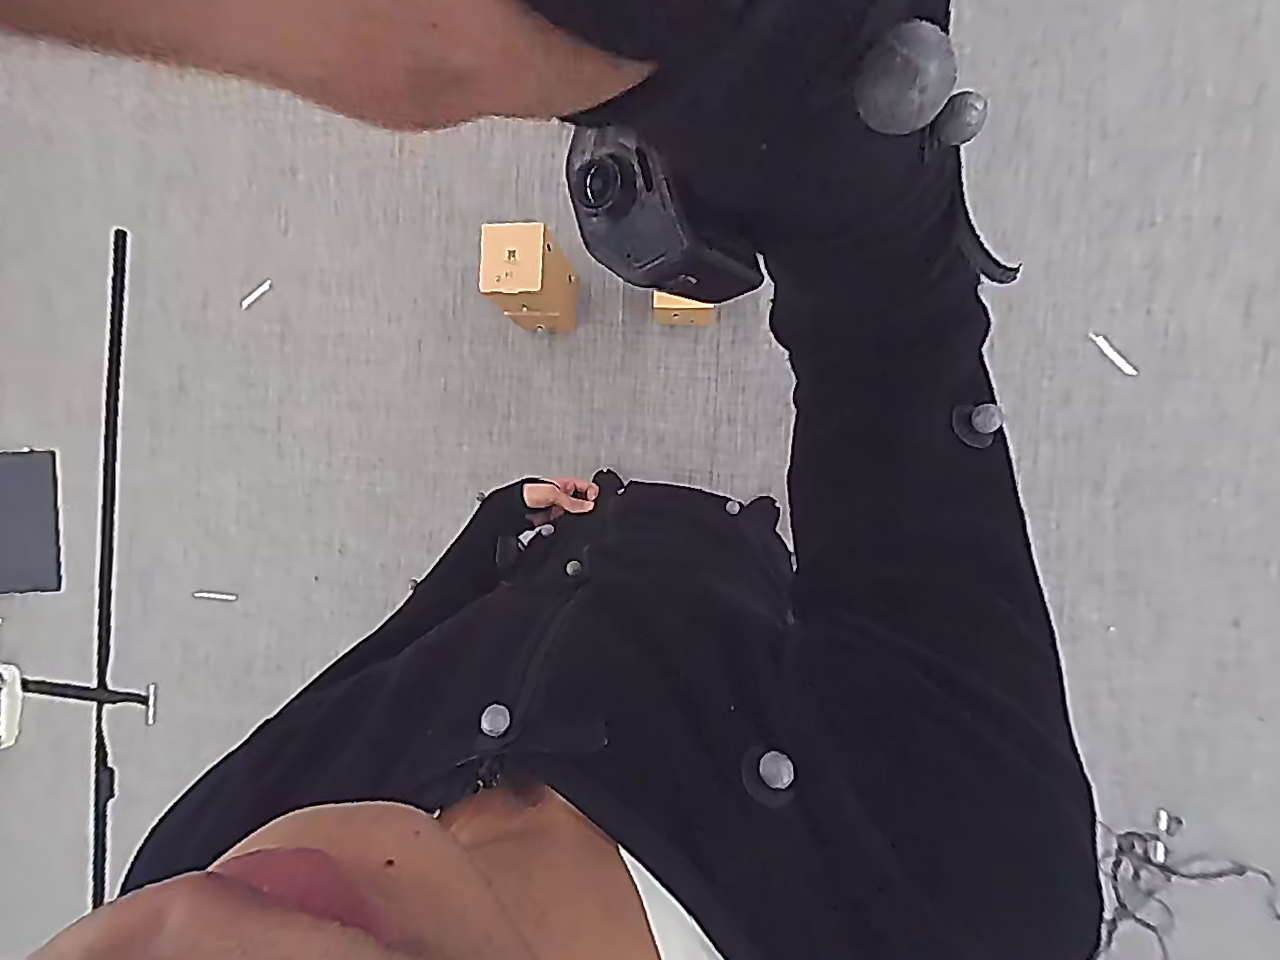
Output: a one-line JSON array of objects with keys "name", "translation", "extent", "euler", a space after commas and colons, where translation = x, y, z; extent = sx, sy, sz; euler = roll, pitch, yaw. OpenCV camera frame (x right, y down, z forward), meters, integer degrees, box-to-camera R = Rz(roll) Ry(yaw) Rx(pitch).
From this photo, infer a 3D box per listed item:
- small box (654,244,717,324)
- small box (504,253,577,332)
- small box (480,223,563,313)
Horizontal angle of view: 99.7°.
[{"name": "small box", "translation": [0.132, -0.548, 1.534], "extent": [0.168, 0.176, 0.179], "euler": [2, 90, 7]}, {"name": "small box", "translation": [-0.285, -0.545, 1.583], "extent": [0.168, 0.176, 0.179], "euler": [3, 91, 8]}, {"name": "small box", "translation": [-0.306, -0.552, 1.420], "extent": [0.168, 0.176, 0.179], "euler": [3, 92, 9]}]
